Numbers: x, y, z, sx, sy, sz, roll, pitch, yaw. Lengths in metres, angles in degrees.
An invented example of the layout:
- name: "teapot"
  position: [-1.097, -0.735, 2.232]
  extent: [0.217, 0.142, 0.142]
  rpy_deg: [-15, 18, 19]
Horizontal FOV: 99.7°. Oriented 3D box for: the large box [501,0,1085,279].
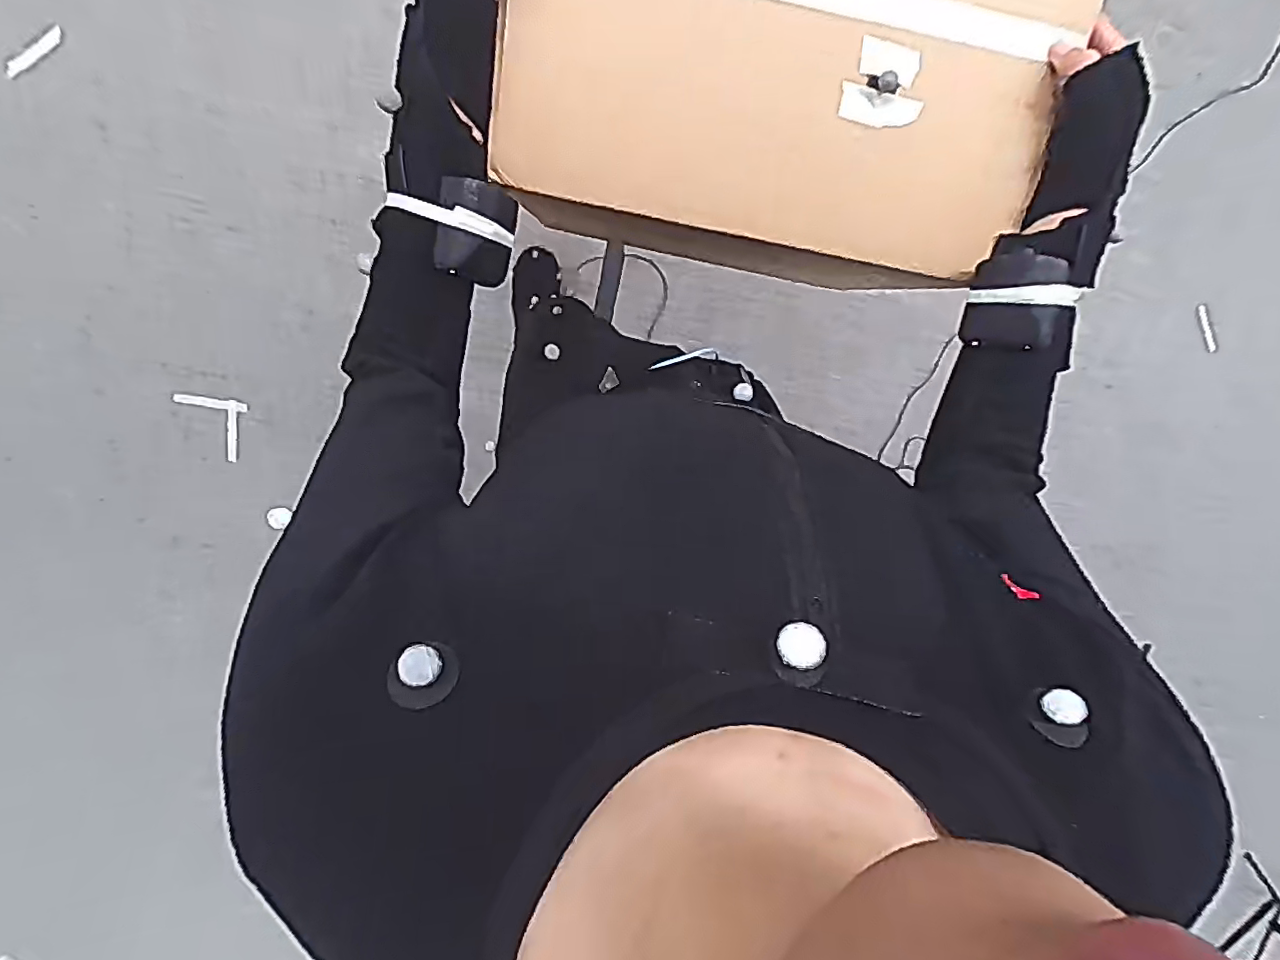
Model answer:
- name: "large box"
  position: [0.104, -0.387, 0.514]
  extent: [0.408, 0.320, 0.320]
  rpy_deg: [9, 110, -7]
